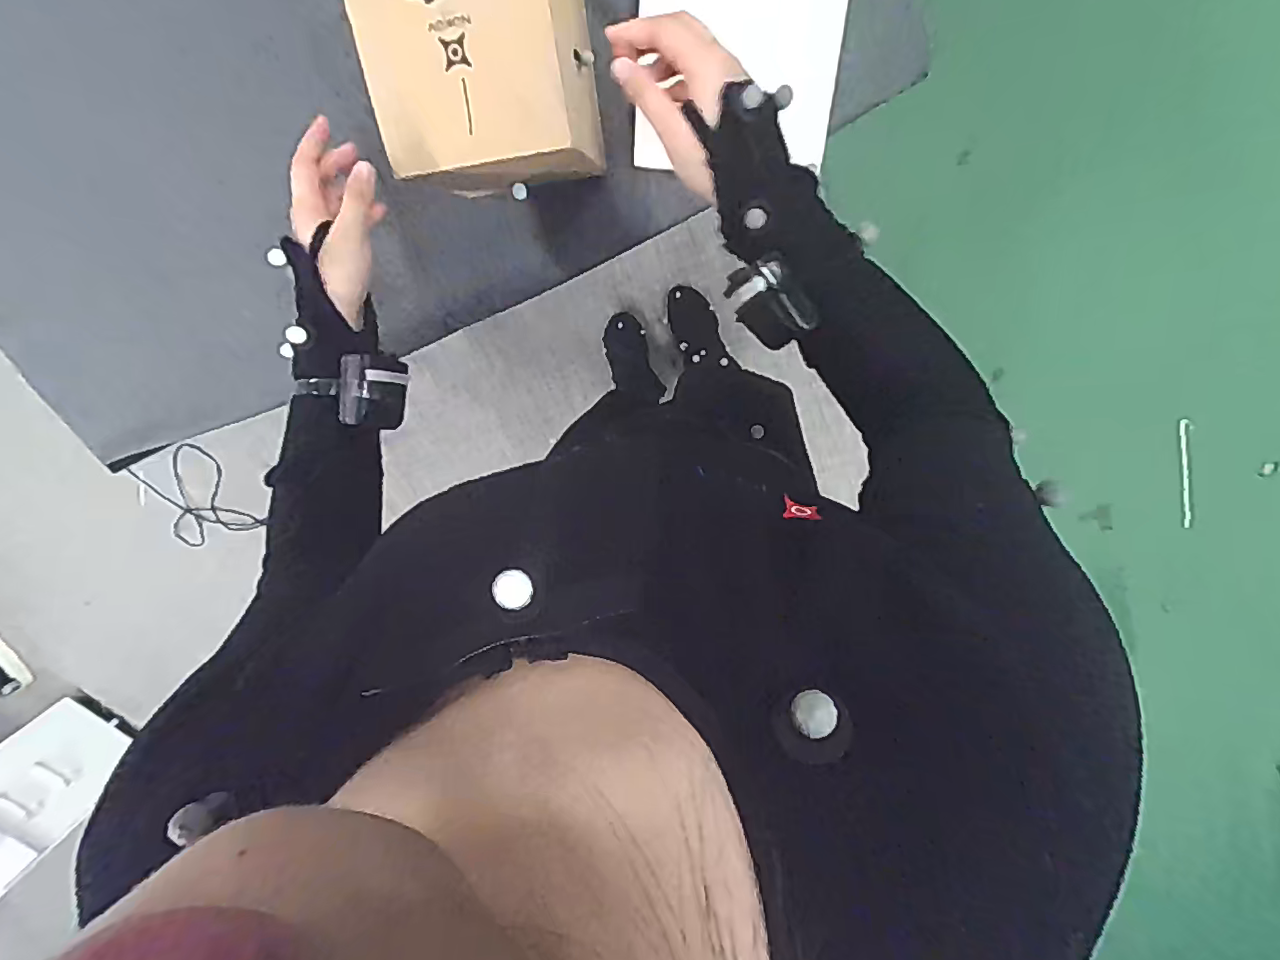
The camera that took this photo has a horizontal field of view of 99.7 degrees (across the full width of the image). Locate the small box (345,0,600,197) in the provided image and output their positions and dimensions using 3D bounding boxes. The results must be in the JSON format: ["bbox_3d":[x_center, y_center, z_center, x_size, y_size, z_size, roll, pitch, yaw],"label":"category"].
[{"bbox_3d":[-0.141,-0.381,0.508,0.168,0.176,0.179,-4,113,9],"label":"small box"}]
